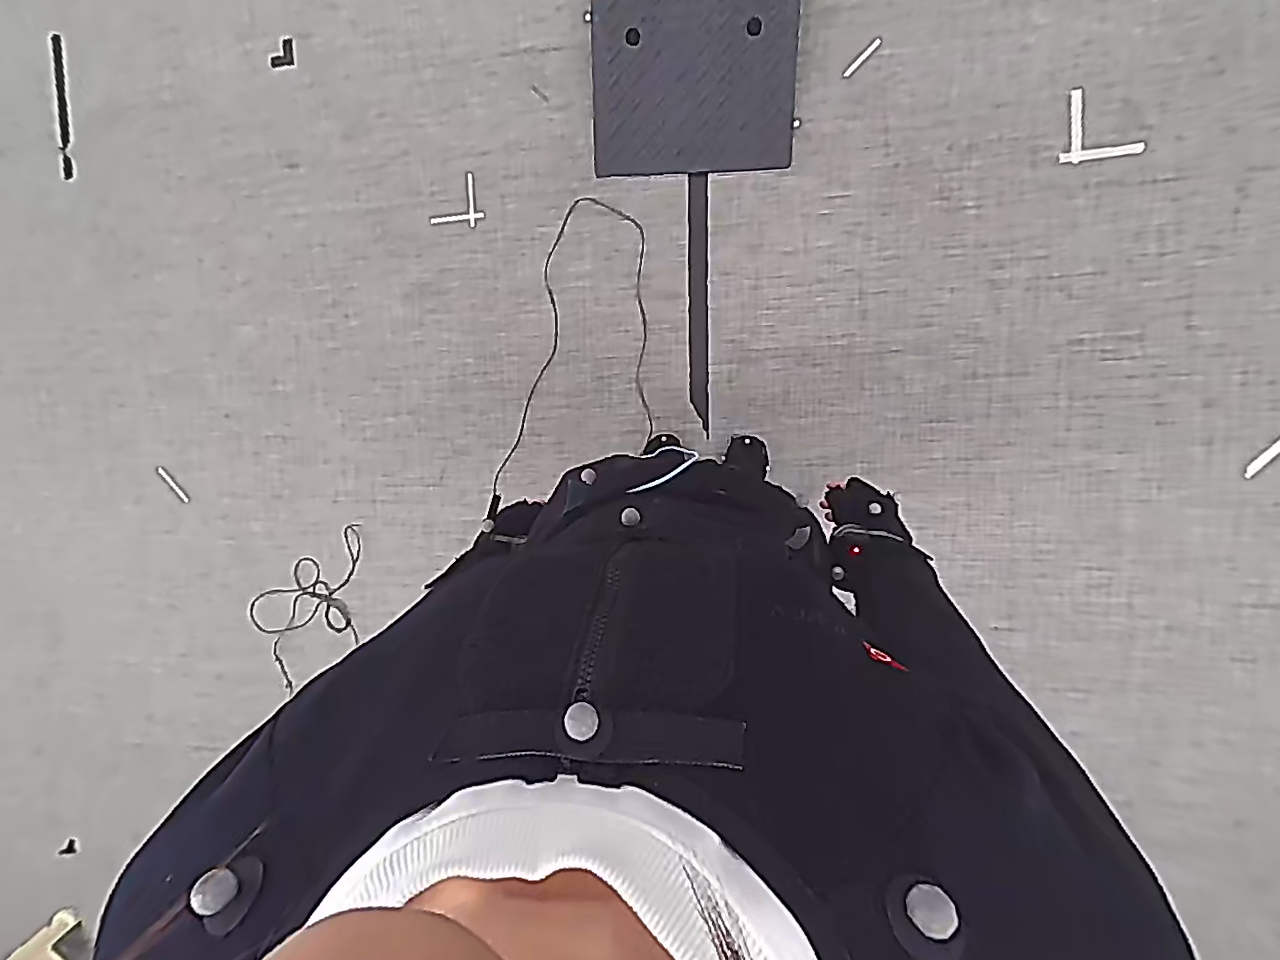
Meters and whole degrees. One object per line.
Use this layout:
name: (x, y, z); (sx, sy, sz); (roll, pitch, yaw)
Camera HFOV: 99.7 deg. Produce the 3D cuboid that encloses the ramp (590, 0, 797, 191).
ramp: (0.119, -1.239, 1.257); (0.509, 0.206, 0.991); (-2, 95, 8)
